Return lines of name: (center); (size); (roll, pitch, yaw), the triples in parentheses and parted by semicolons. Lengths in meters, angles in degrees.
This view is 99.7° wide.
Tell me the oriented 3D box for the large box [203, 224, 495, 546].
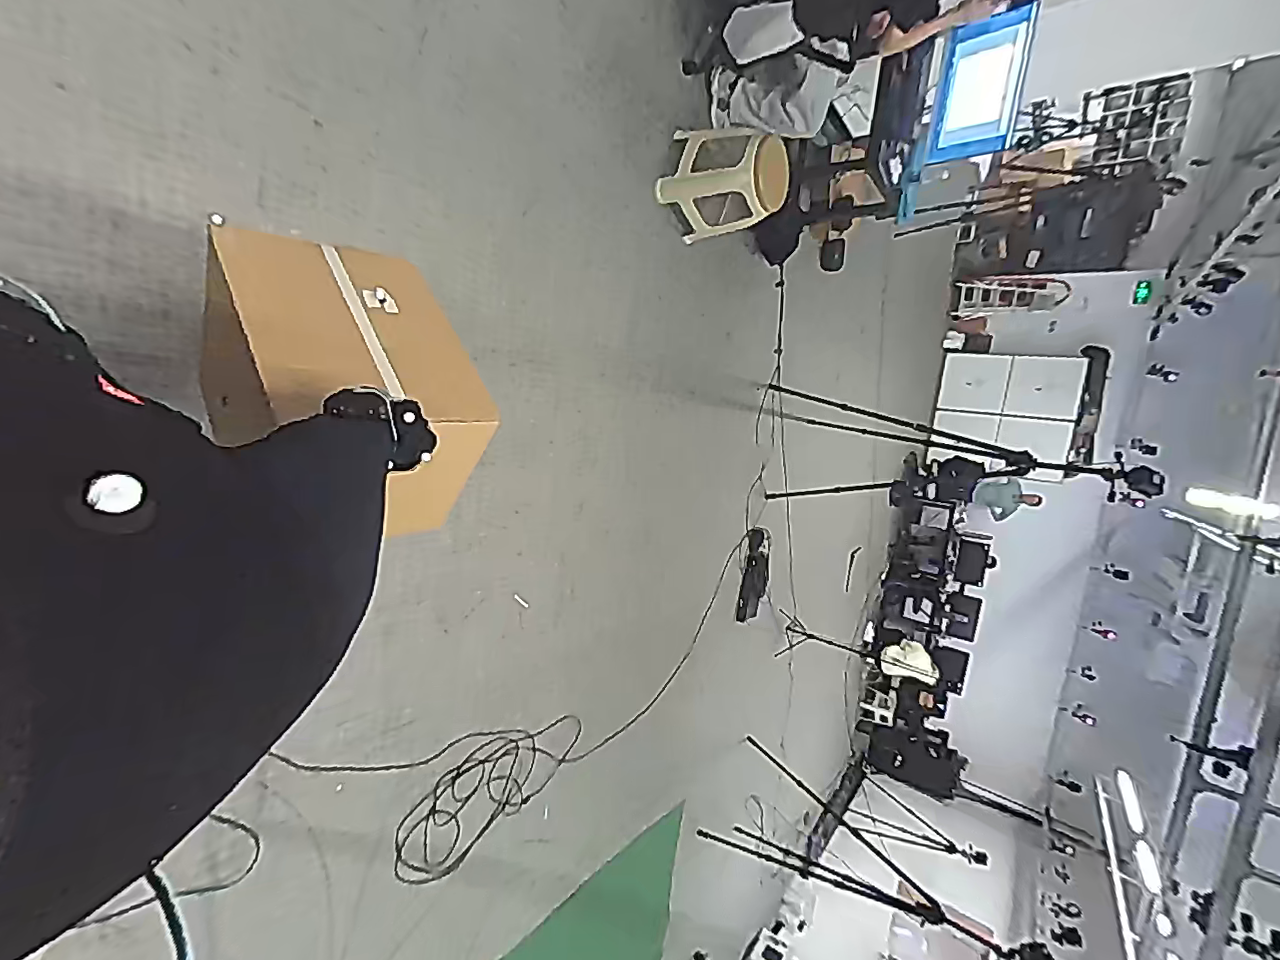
large box: (-0.516, -0.155, 0.933); (0.320, 0.408, 0.320); (-8, 148, -47)
